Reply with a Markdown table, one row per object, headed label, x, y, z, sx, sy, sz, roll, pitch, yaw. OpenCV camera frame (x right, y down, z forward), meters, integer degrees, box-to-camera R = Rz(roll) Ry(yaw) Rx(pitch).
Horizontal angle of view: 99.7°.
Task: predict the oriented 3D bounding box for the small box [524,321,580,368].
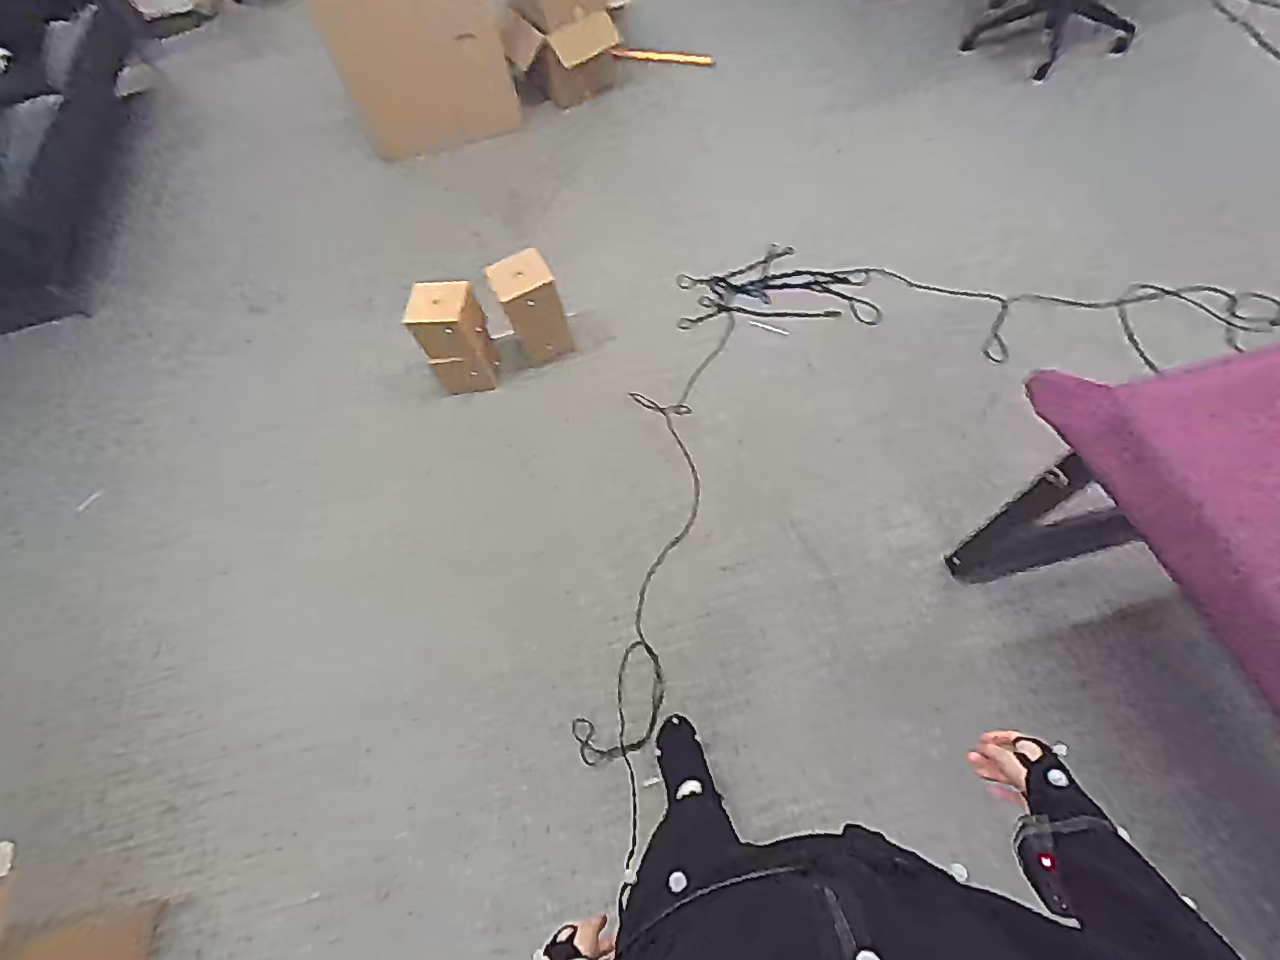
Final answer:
| label | x | y | z | sx | sy | sz | roll | pitch | yaw |
| --- | --- | --- | --- | --- | --- | --- | --- | --- | --- |
| small box | -0.321 | -0.512 | 1.870 | 0.168 | 0.176 | 0.179 | -22 | 61 | -3 |

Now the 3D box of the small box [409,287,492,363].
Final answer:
| label | x | y | z | sx | sy | sz | roll | pitch | yaw |
| --- | --- | --- | --- | --- | --- | --- | --- | --- | --- |
| small box | -0.594 | -0.487 | 1.716 | 0.179 | 0.176 | 0.168 | 0 | 62 | 7 |

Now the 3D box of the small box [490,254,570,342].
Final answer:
| label | x | y | z | sx | sy | sz | roll | pitch | yaw |
| --- | --- | --- | --- | --- | --- | --- | --- | --- | --- |
| small box | -0.346 | -0.573 | 1.721 | 0.179 | 0.176 | 0.168 | -26 | 63 | -5 |
